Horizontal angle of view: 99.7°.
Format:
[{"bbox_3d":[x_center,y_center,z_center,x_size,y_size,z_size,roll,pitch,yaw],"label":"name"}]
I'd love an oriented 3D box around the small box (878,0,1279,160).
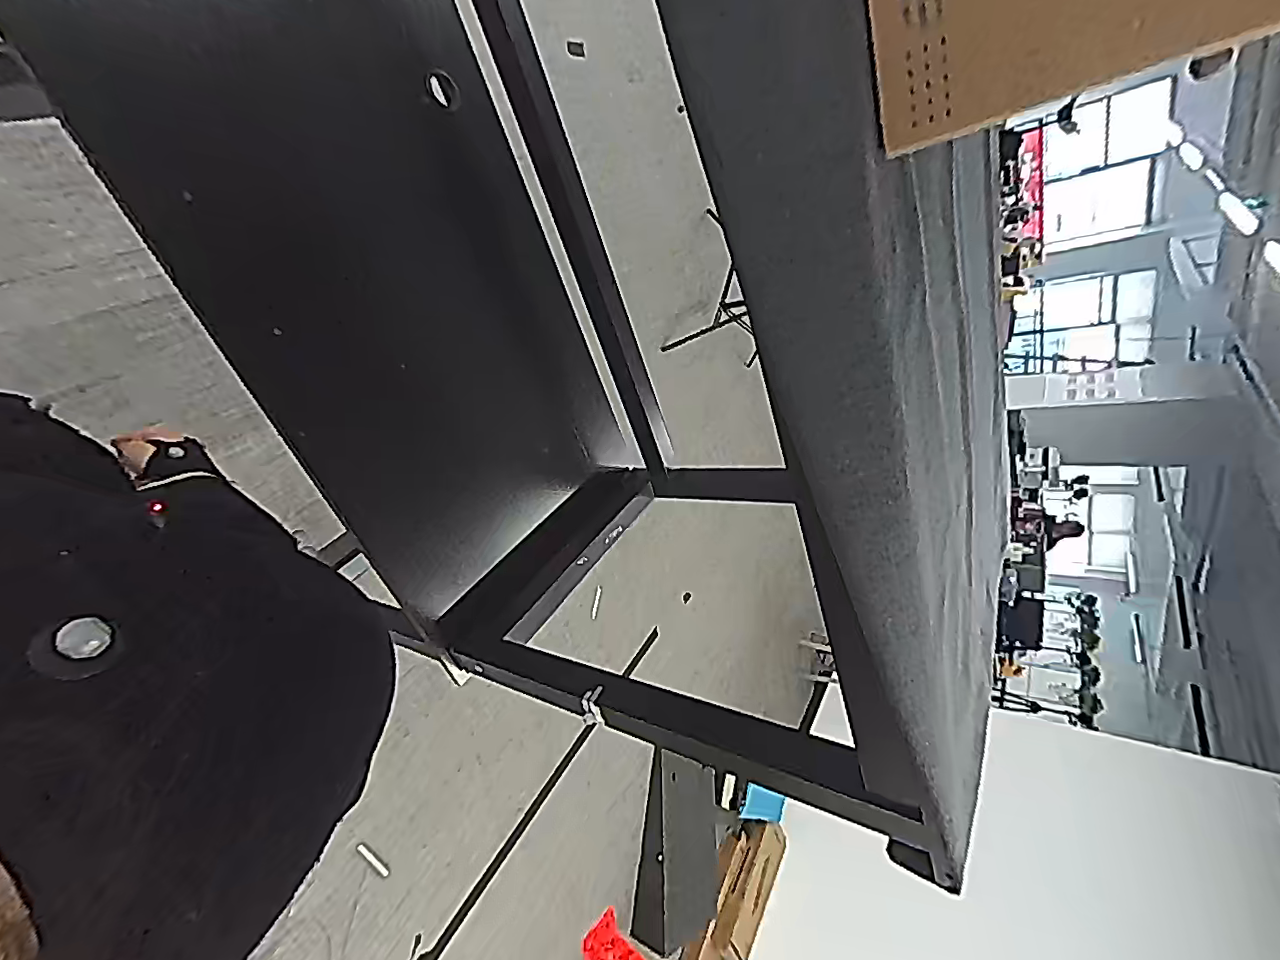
[{"bbox_3d":[0.202,-0.259,0.228,0.179,0.176,0.168,-46,125,-43],"label":"small box"}]
